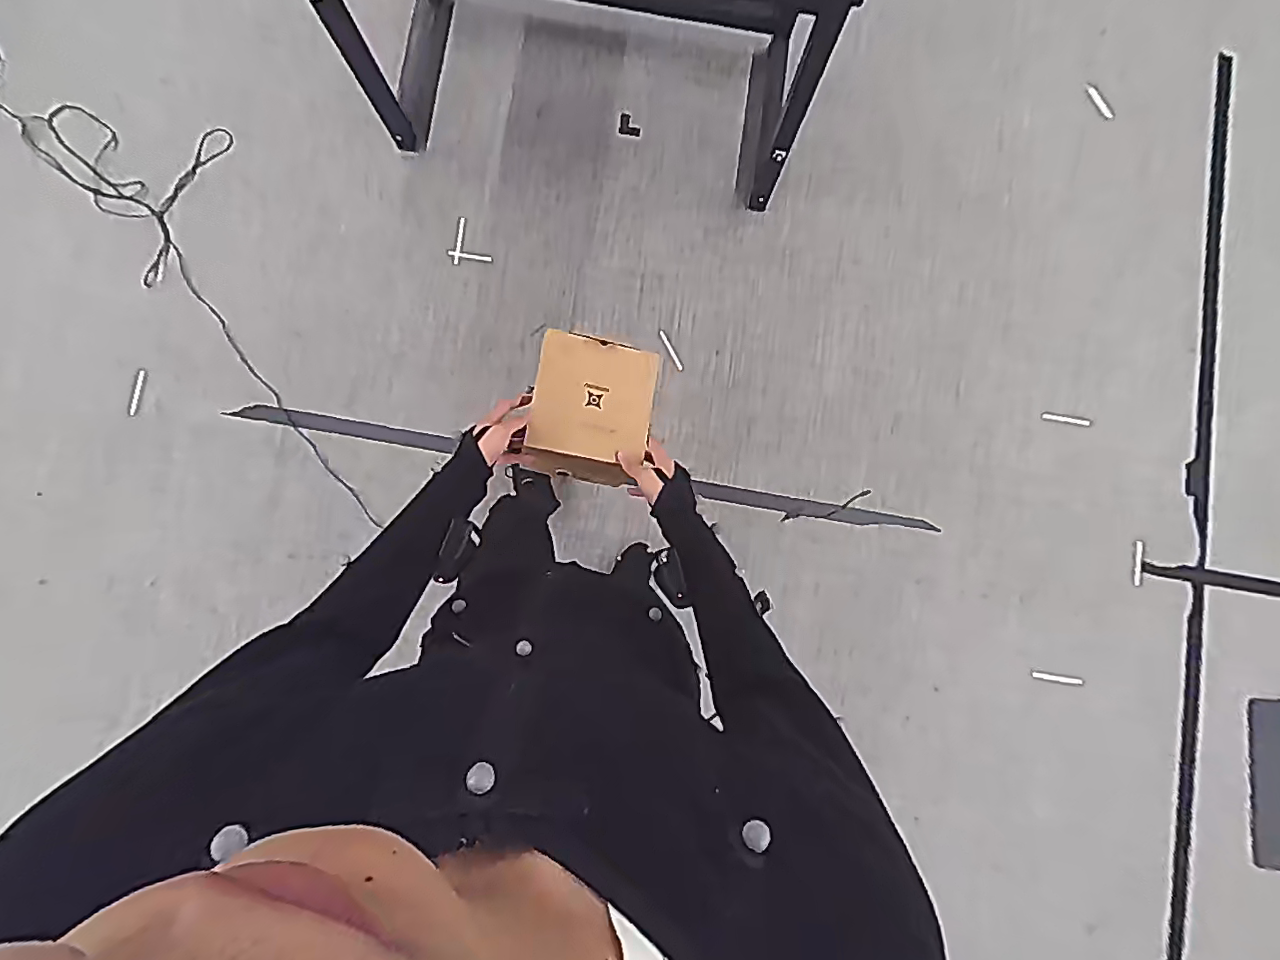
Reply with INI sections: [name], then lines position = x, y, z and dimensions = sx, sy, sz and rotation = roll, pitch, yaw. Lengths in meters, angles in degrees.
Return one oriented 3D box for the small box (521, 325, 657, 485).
[small box]
position = -0.084, -0.102, 0.818
dimensions = 0.168, 0.176, 0.179
rotation = 10, 77, -11
